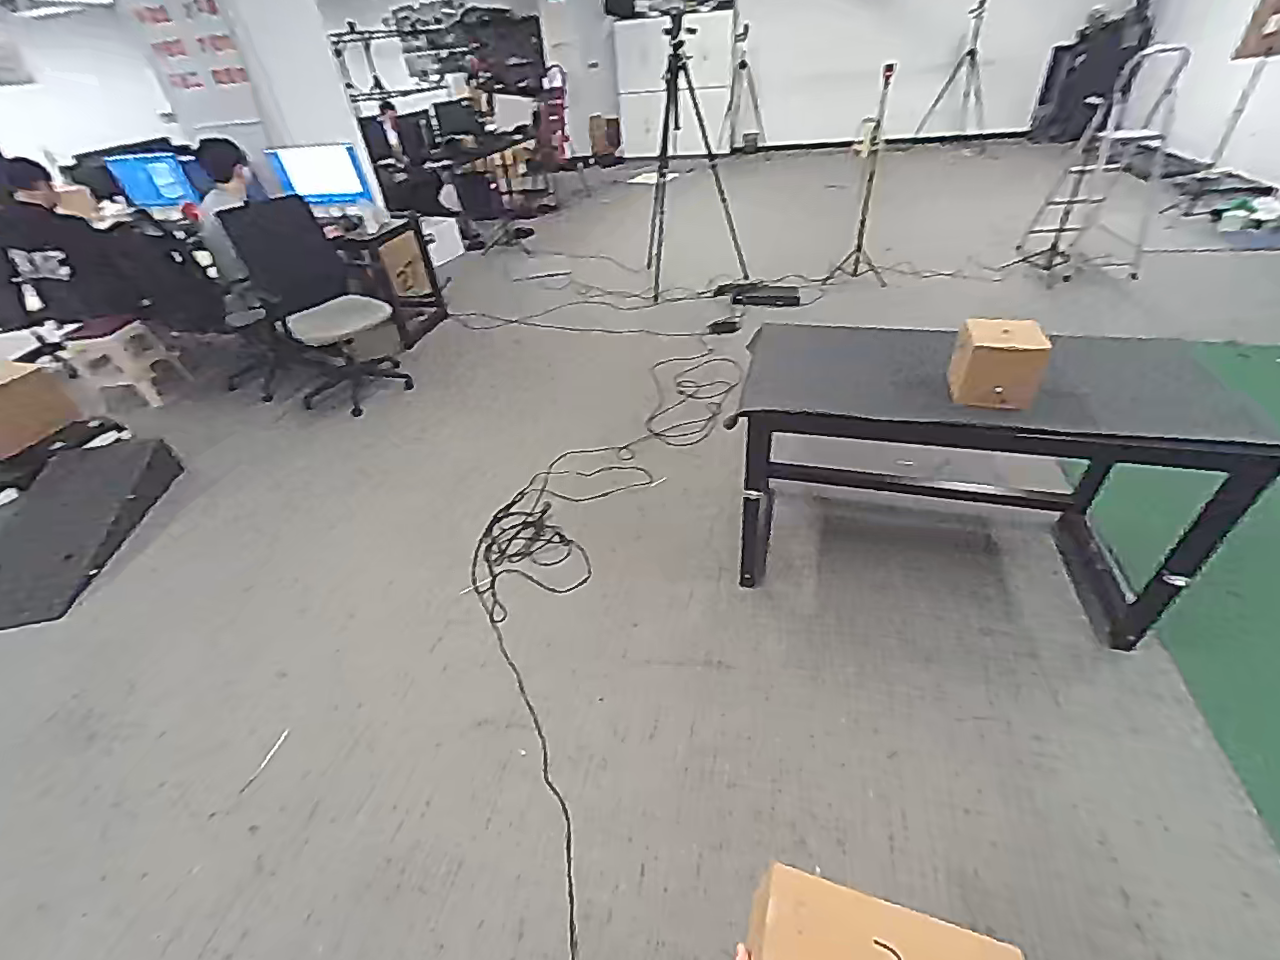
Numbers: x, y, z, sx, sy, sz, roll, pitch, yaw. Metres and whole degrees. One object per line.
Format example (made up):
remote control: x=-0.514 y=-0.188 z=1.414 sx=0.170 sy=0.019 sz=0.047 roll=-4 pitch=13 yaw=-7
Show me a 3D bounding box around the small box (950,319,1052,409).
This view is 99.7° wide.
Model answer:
small box: x=0.924 y=-0.303 z=1.405 sx=0.168 sy=0.176 sz=0.179 roll=7 pitch=40 yaw=17
